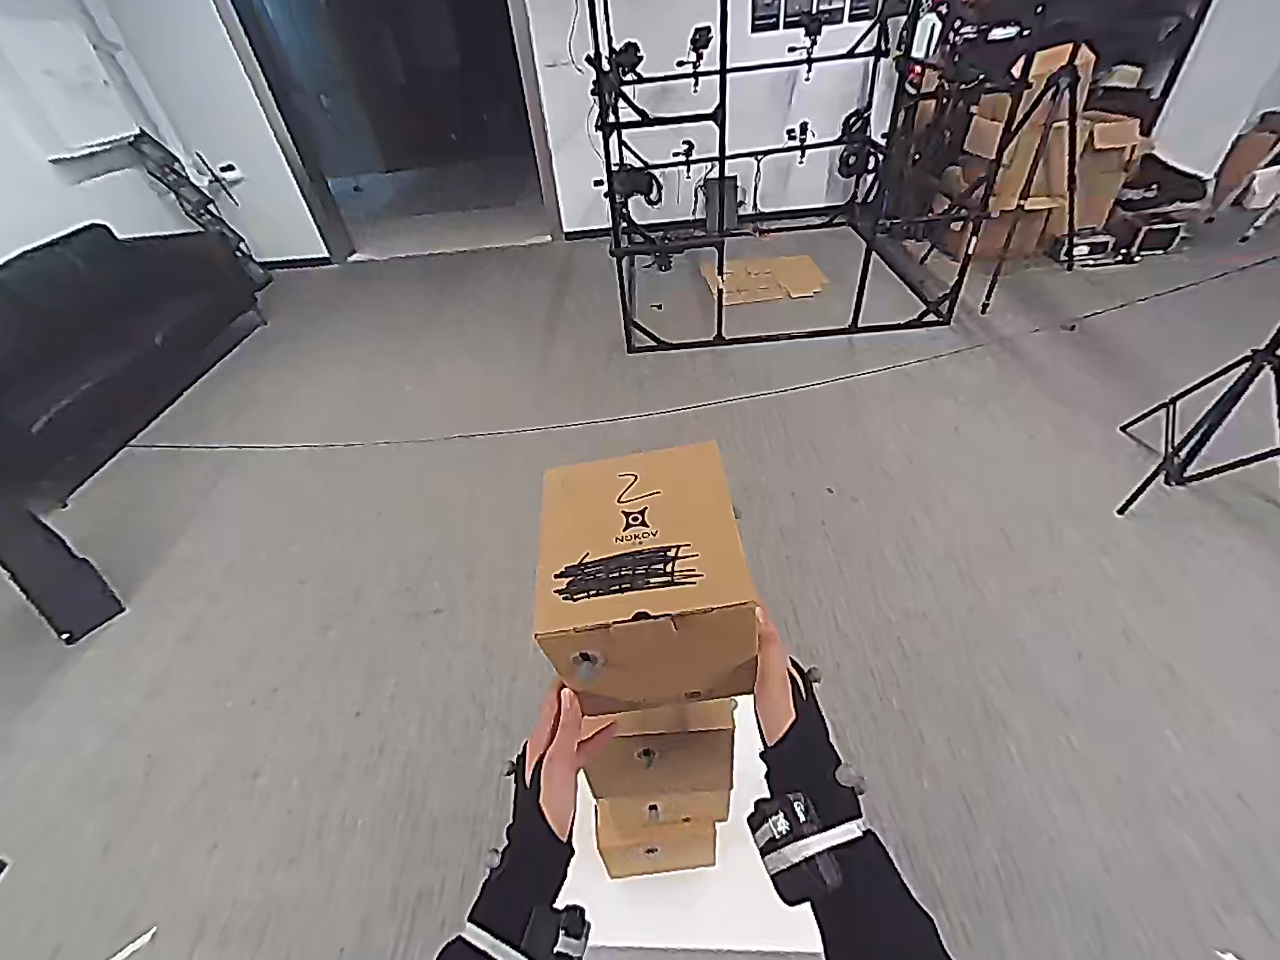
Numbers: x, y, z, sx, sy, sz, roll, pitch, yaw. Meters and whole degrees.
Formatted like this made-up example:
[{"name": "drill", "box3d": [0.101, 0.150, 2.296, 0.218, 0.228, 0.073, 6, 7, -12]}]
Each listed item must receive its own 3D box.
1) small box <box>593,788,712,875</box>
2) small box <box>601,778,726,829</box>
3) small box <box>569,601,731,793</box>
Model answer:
[{"name": "small box", "box3d": [0.020, 0.526, 0.890, 0.179, 0.176, 0.168, -6, 41, -1]}, {"name": "small box", "box3d": [0.032, 0.391, 0.796, 0.168, 0.176, 0.179, -6, 40, 0]}, {"name": "small box", "box3d": [0.017, 0.274, 0.679, 0.179, 0.176, 0.168, -4, 41, 2]}]
